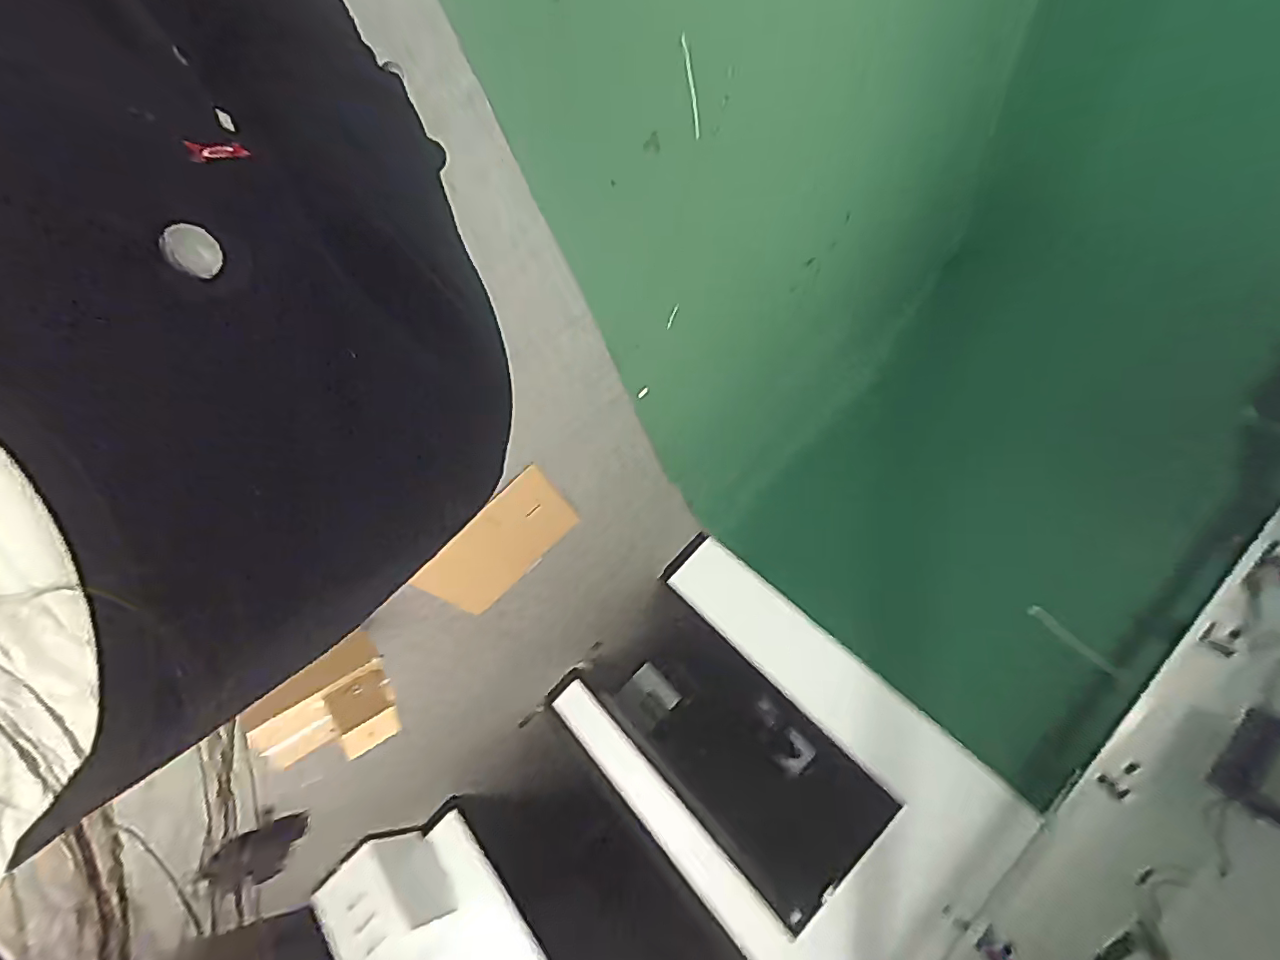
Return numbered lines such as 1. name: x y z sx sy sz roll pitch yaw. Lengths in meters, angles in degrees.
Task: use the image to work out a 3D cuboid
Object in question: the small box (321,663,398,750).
1. small box: -0.938 0.753 1.812 0.168 0.176 0.179 -27 142 -37
